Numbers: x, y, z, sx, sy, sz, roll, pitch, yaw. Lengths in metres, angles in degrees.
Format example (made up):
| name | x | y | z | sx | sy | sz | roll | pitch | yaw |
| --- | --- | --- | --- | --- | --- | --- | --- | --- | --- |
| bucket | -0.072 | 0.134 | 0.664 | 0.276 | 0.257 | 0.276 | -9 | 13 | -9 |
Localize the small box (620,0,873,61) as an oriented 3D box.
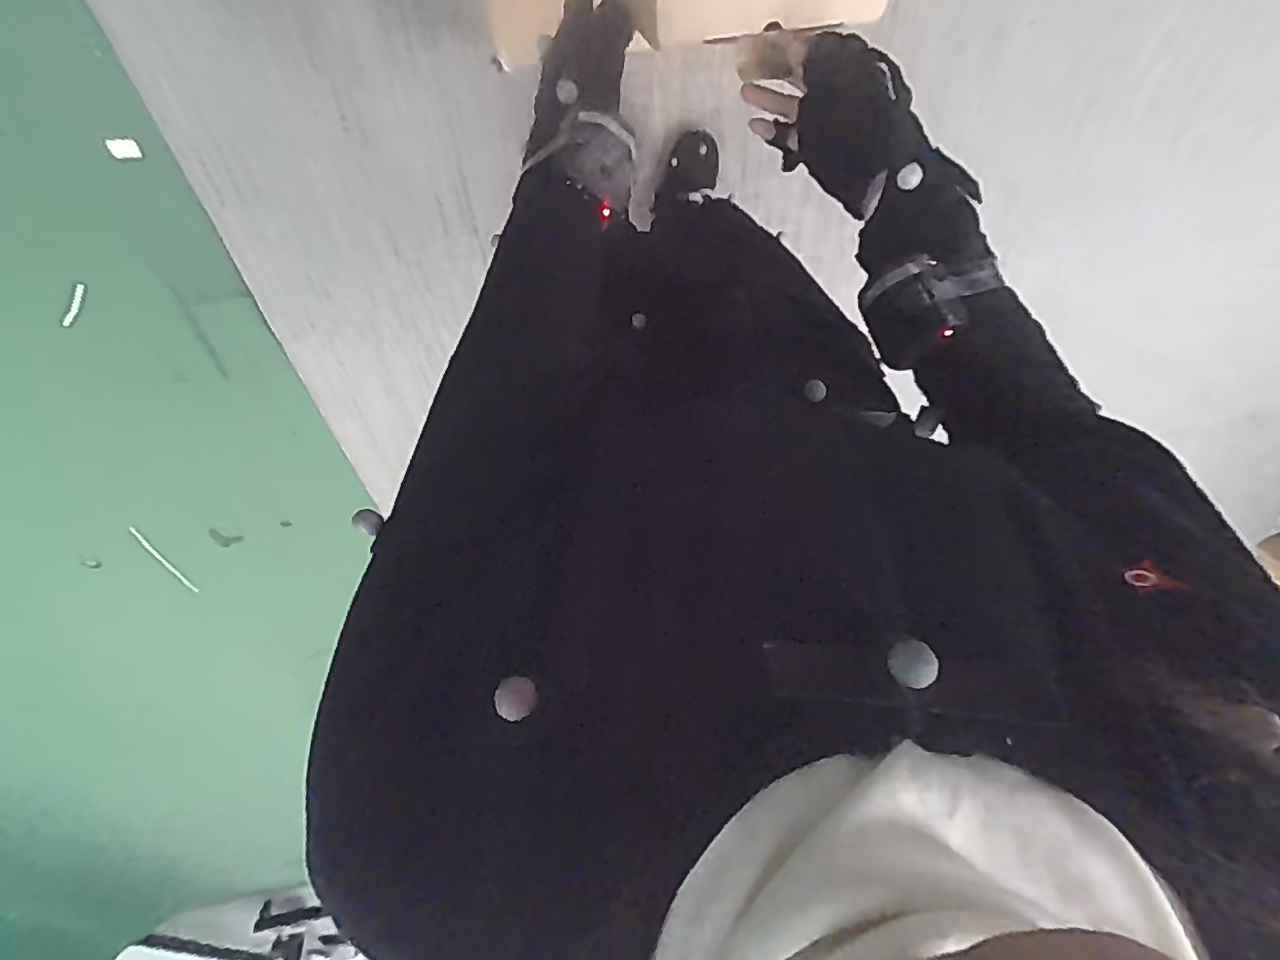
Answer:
| name | x | y | z | sx | sy | sz | roll | pitch | yaw |
| --- | --- | --- | --- | --- | --- | --- | --- | --- | --- |
| small box | 0.066 | -0.427 | 0.374 | 0.168 | 0.176 | 0.179 | -11 | 140 | -4 |
